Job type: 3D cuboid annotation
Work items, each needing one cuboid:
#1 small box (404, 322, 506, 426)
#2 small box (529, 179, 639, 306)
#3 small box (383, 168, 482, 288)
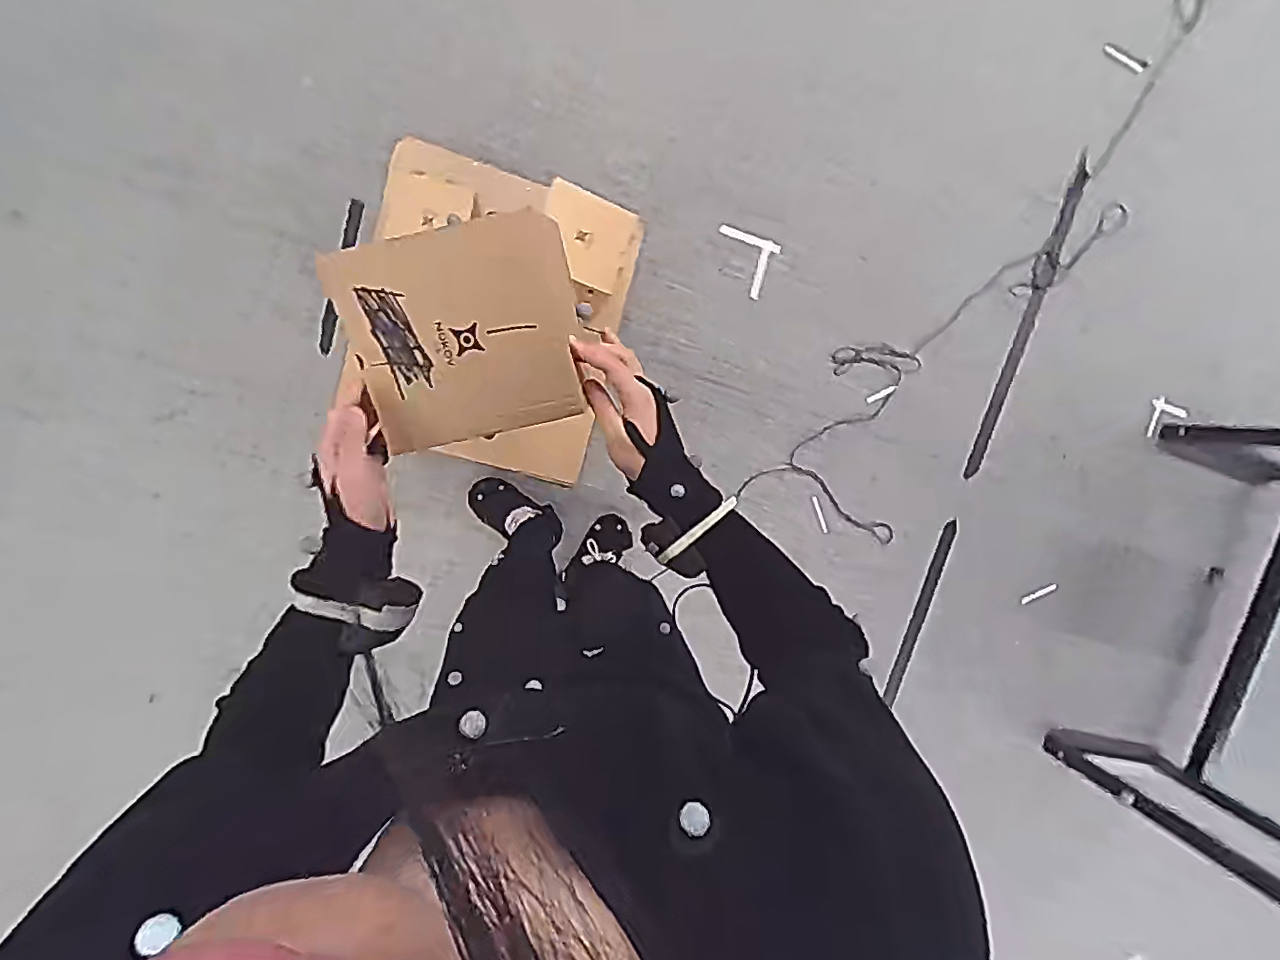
[{"bbox_3d":[-0.419,-0.242,1.259,0.168,0.176,0.179,24,94,-14],"label":"small box"},{"bbox_3d":[-0.124,-0.478,1.120,0.179,0.176,0.168,18,94,-15],"label":"small box"},{"bbox_3d":[-0.455,-0.553,1.211,0.168,0.176,0.179,10,95,-12],"label":"small box"}]
